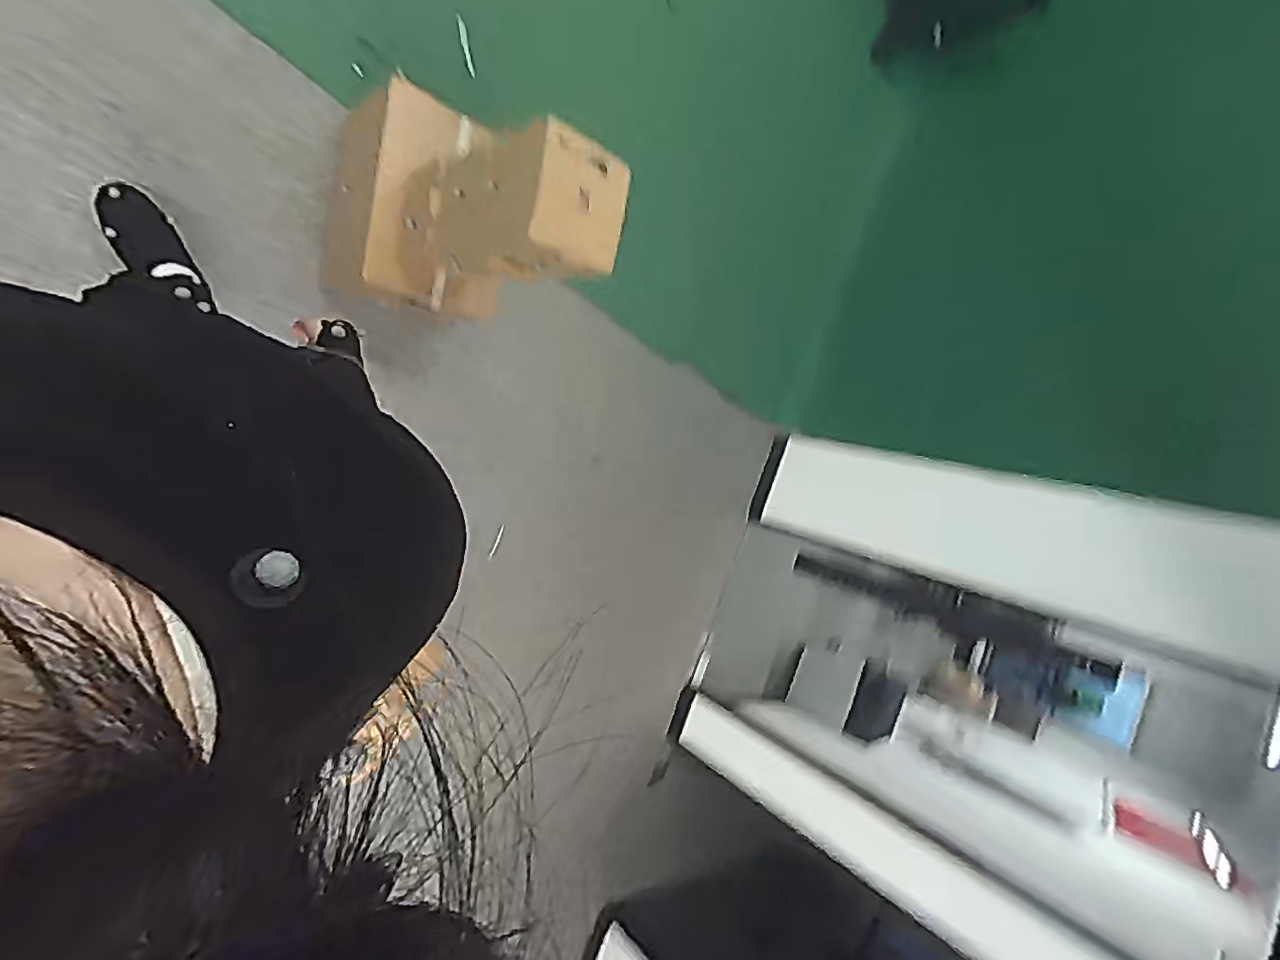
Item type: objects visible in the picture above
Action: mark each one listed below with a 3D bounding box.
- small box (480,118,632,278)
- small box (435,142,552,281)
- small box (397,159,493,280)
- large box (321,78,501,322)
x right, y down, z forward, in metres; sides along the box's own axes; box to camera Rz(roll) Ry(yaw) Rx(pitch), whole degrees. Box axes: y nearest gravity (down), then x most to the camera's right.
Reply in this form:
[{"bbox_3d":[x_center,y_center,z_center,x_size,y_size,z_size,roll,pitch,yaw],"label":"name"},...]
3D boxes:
[{"bbox_3d":[-0.144,-0.447,0.892,0.168,0.176,0.179,7,99,-46],"label":"small box"},{"bbox_3d":[-0.260,-0.481,1.003,0.168,0.176,0.179,6,98,-46],"label":"small box"},{"bbox_3d":[-0.375,-0.521,1.112,0.179,0.176,0.168,7,98,-46],"label":"small box"},{"bbox_3d":[-0.527,-0.614,1.285,0.320,0.320,0.408,6,97,-47],"label":"large box"}]
